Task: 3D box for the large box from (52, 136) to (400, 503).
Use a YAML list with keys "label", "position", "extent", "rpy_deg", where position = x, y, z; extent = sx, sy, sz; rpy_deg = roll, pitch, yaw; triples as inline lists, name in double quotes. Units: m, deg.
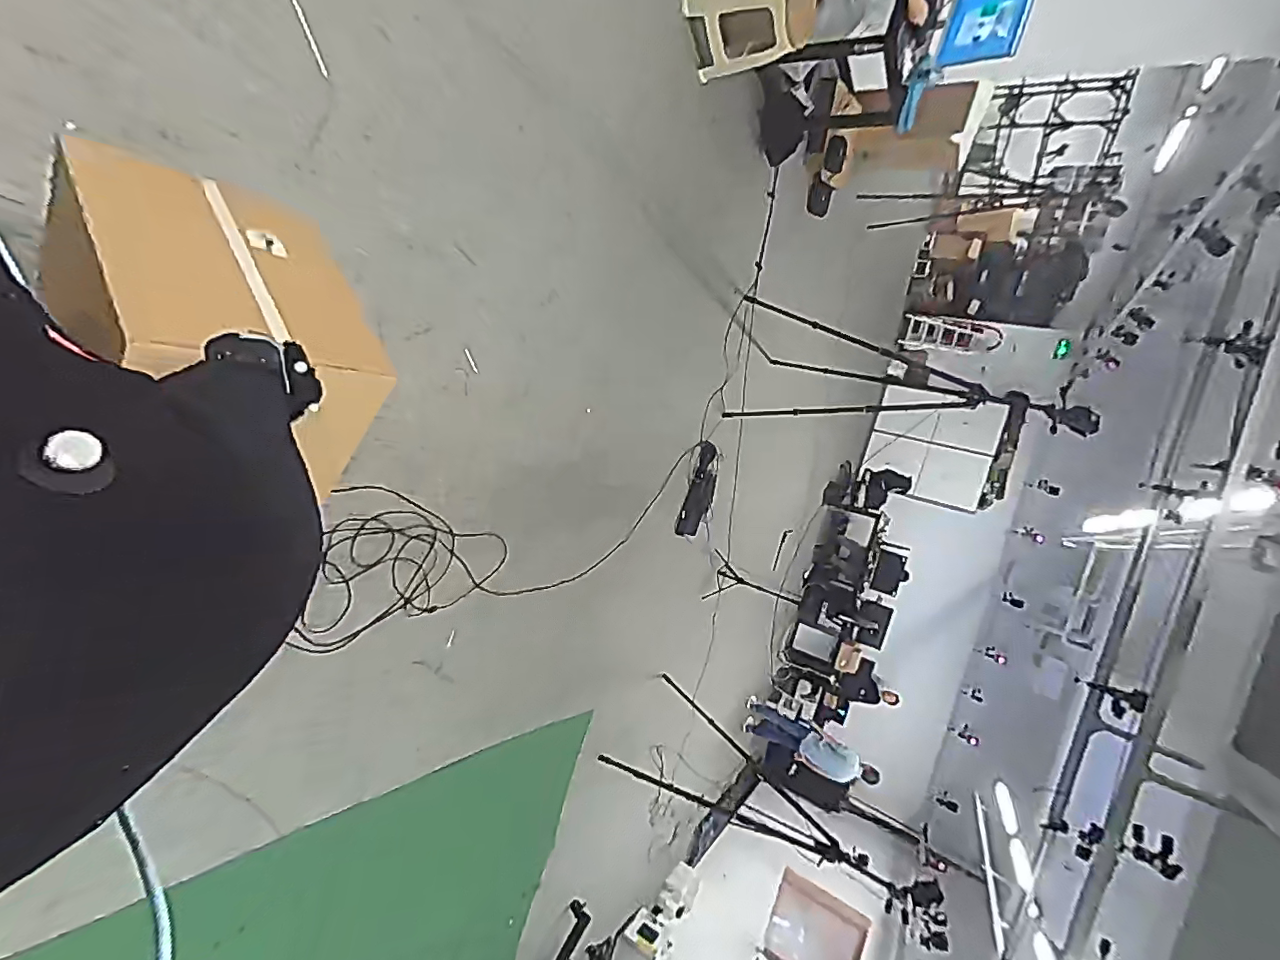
- label: "large box"
  position: [-0.653, -0.220, 0.848]
  extent: [0.320, 0.408, 0.320]
  rpy_deg: [-46, 158, 27]
